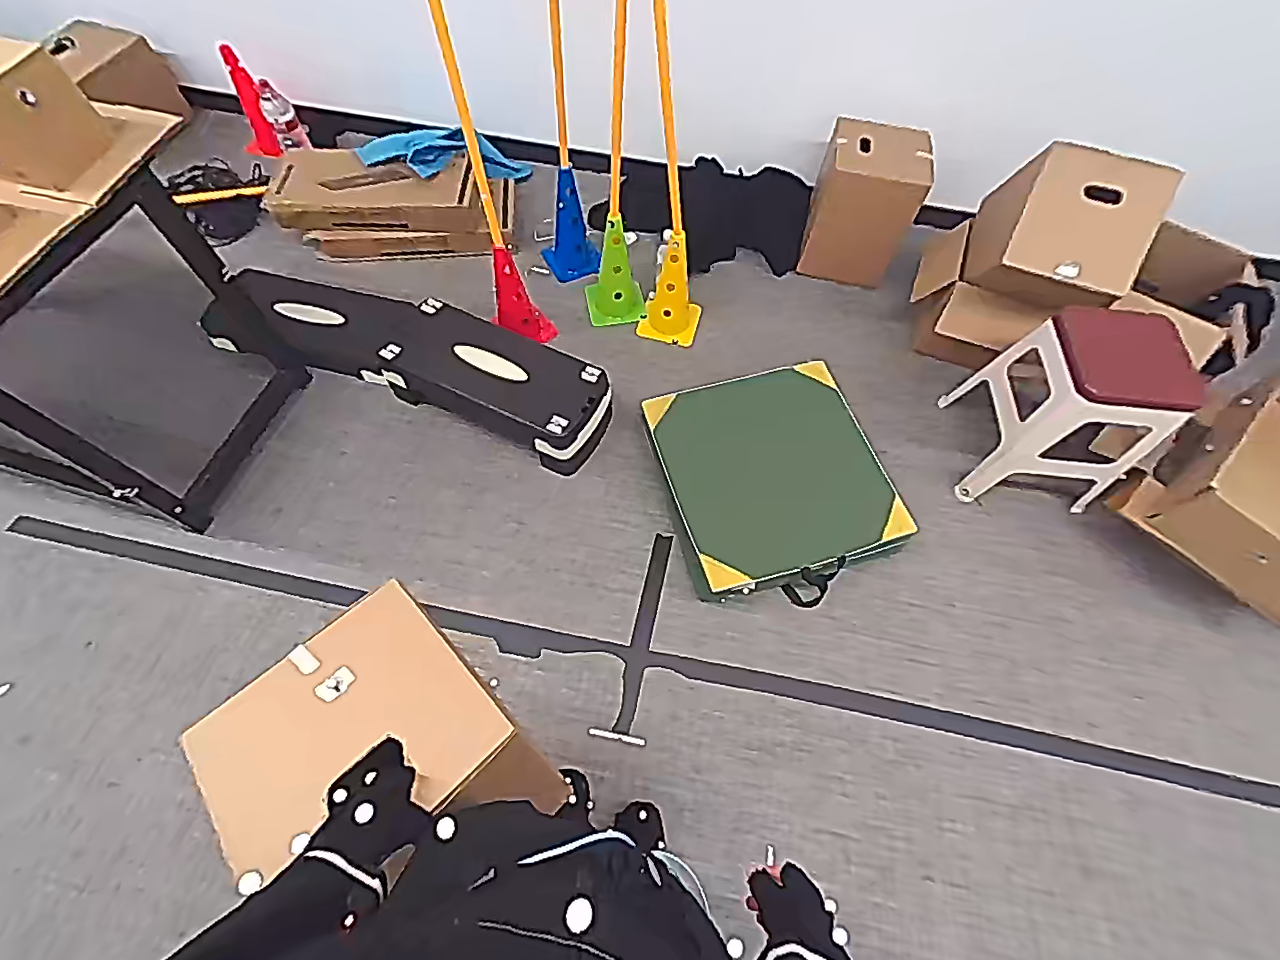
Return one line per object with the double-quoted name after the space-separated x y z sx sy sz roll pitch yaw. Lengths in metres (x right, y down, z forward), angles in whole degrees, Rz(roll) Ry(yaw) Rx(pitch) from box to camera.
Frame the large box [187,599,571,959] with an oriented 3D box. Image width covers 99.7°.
-0.351 0.454 0.824 0.320 0.408 0.320 -40 59 -23 "large box"
